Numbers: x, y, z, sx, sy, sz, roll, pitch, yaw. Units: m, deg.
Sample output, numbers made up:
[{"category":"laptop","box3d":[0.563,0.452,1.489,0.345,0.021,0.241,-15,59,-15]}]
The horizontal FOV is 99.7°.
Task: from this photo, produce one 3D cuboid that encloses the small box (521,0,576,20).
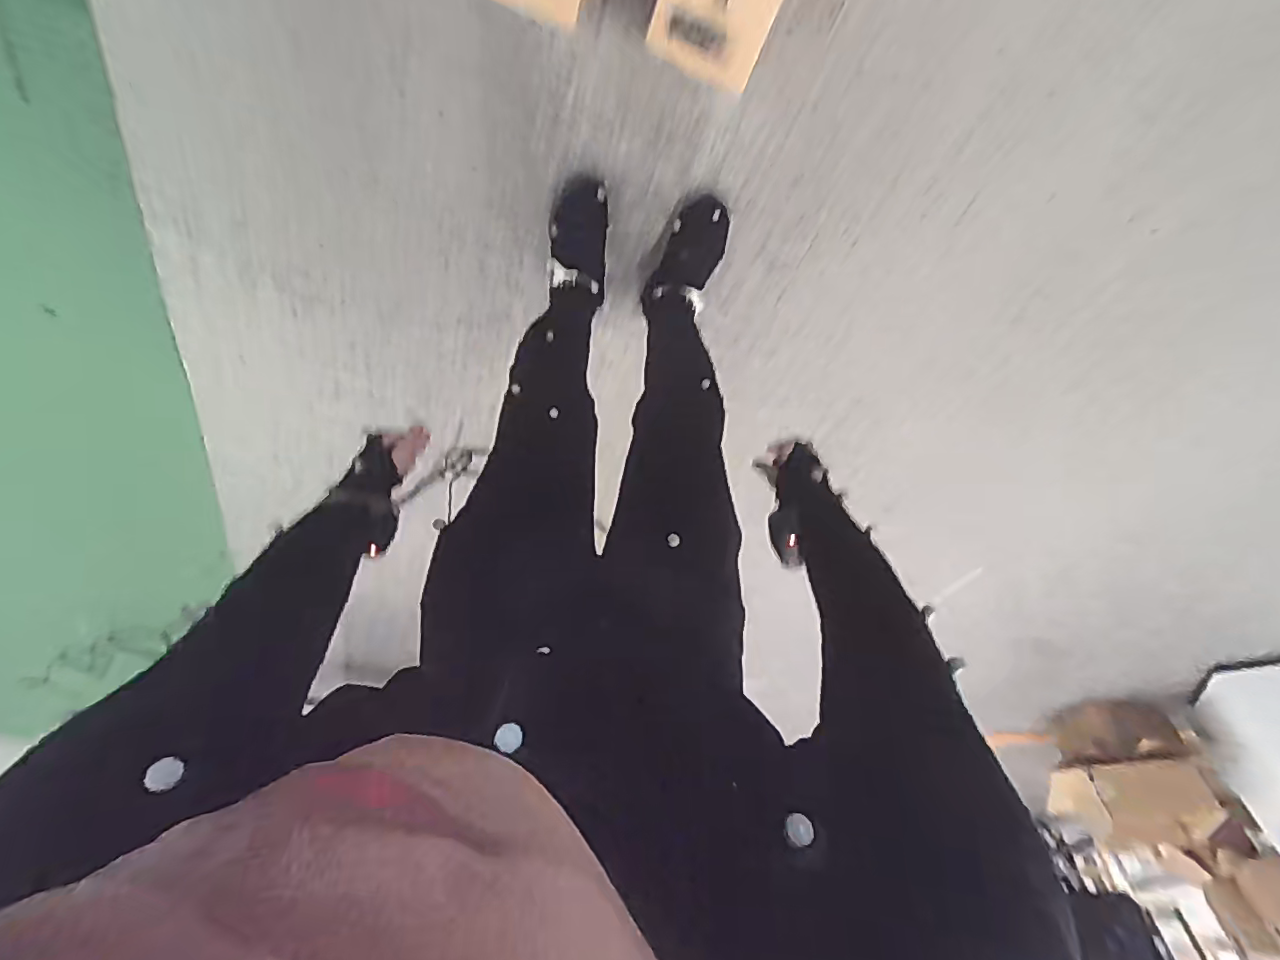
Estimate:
[{"category":"small box","box3d":[-0.152,-0.790,0.750,0.168,0.176,0.179,15,133,-15]}]
